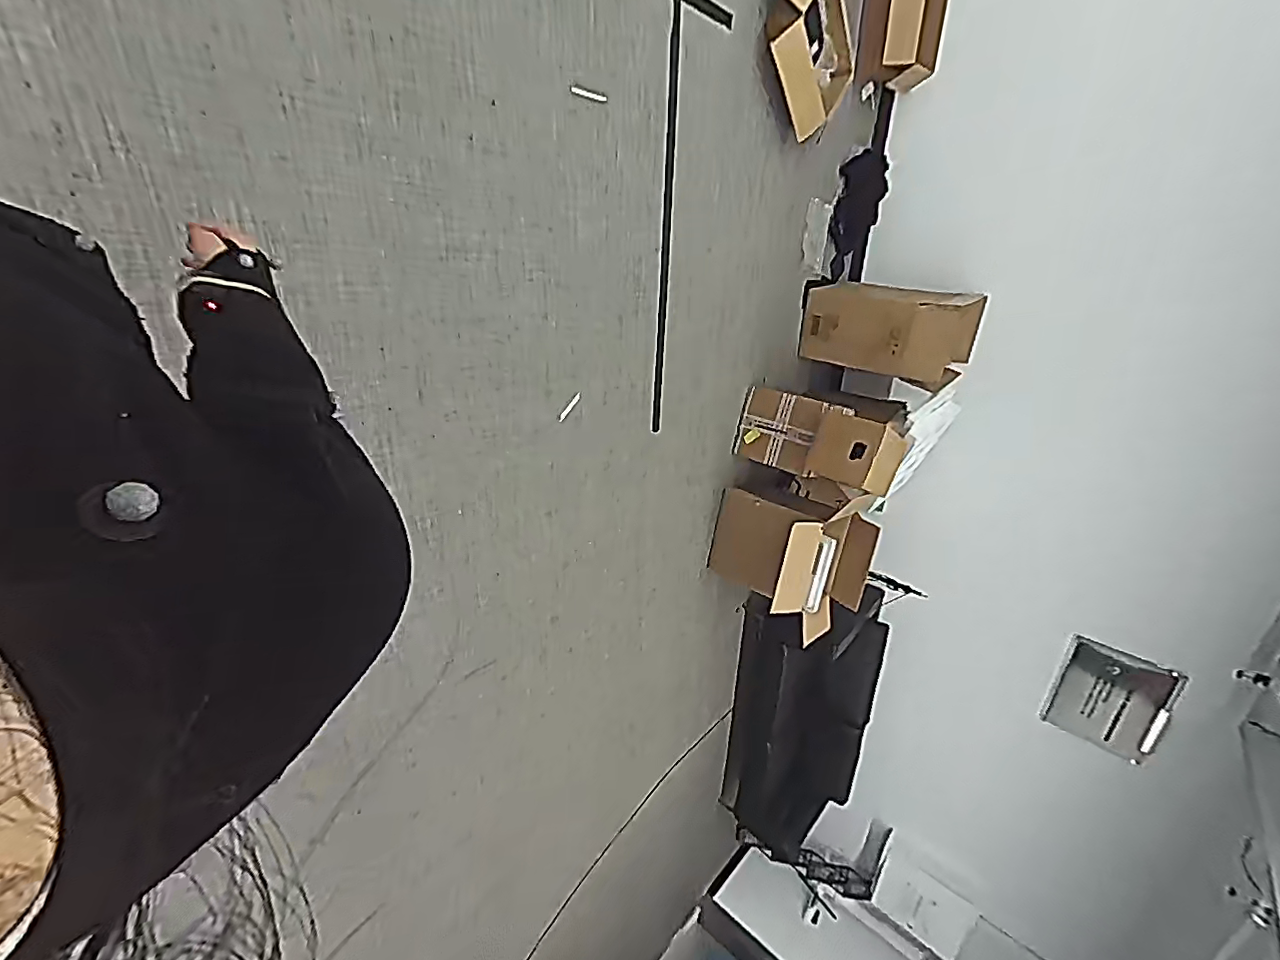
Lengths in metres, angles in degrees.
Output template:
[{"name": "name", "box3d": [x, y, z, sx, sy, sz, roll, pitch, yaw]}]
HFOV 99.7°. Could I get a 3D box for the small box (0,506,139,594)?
[{"name": "small box", "box3d": [-1.115, 0.164, 1.065, 0.168, 0.176, 0.179, -19, 122, -44]}]
